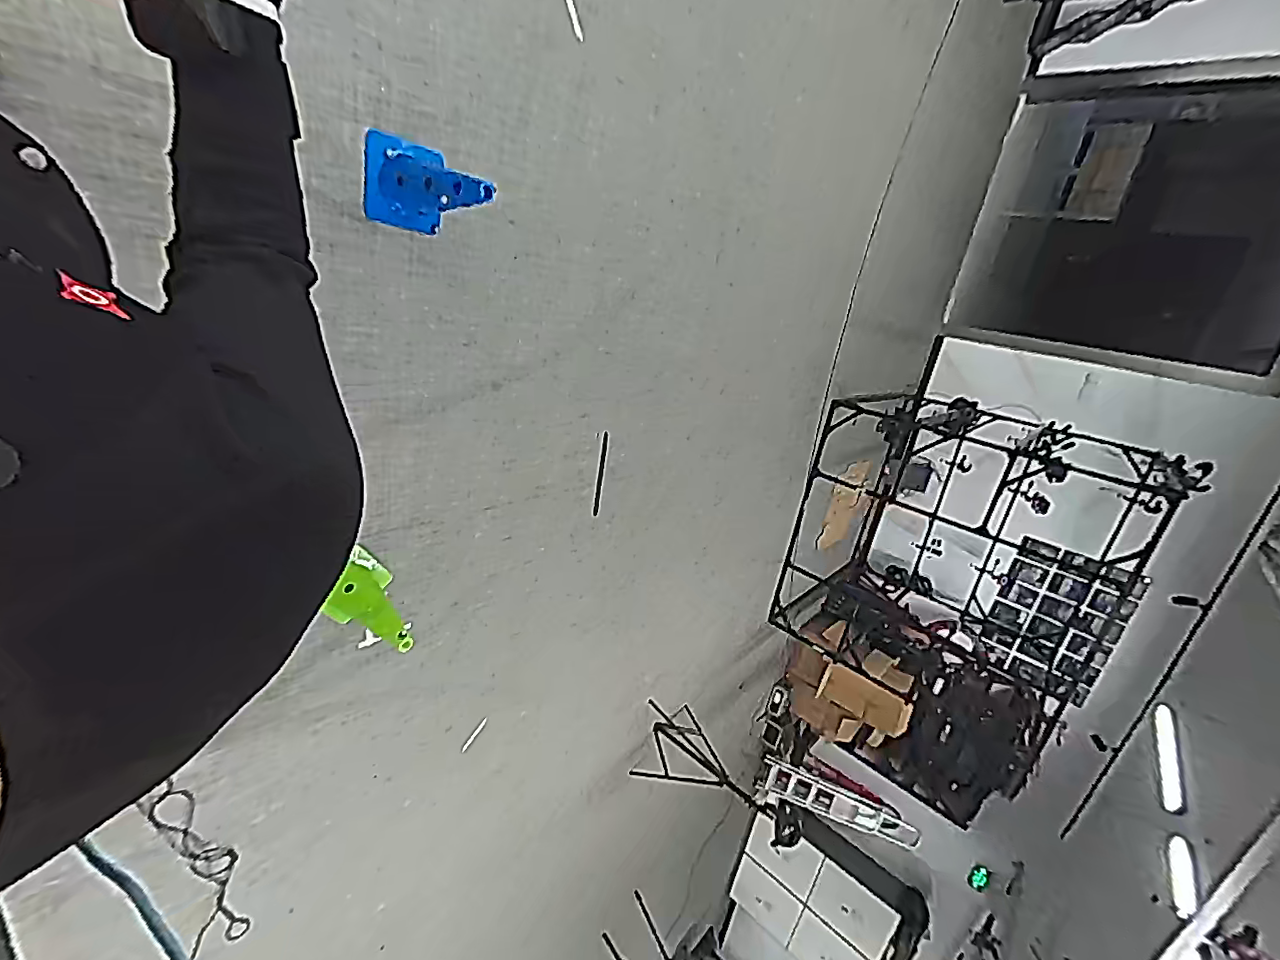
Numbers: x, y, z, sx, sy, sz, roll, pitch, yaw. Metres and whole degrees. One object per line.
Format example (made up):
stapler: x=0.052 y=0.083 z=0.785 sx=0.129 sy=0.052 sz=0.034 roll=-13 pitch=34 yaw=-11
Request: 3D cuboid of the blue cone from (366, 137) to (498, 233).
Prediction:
blue cone: x=-0.473 y=-0.685 z=1.279 sx=0.192 sy=0.380 sz=0.193 roll=-9 pitch=118 yaw=-51

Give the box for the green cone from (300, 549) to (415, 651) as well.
green cone: x=-0.752 y=0.383 z=1.528 sx=0.202 sy=0.368 sz=0.200 roll=-49 pitch=143 yaw=-24
